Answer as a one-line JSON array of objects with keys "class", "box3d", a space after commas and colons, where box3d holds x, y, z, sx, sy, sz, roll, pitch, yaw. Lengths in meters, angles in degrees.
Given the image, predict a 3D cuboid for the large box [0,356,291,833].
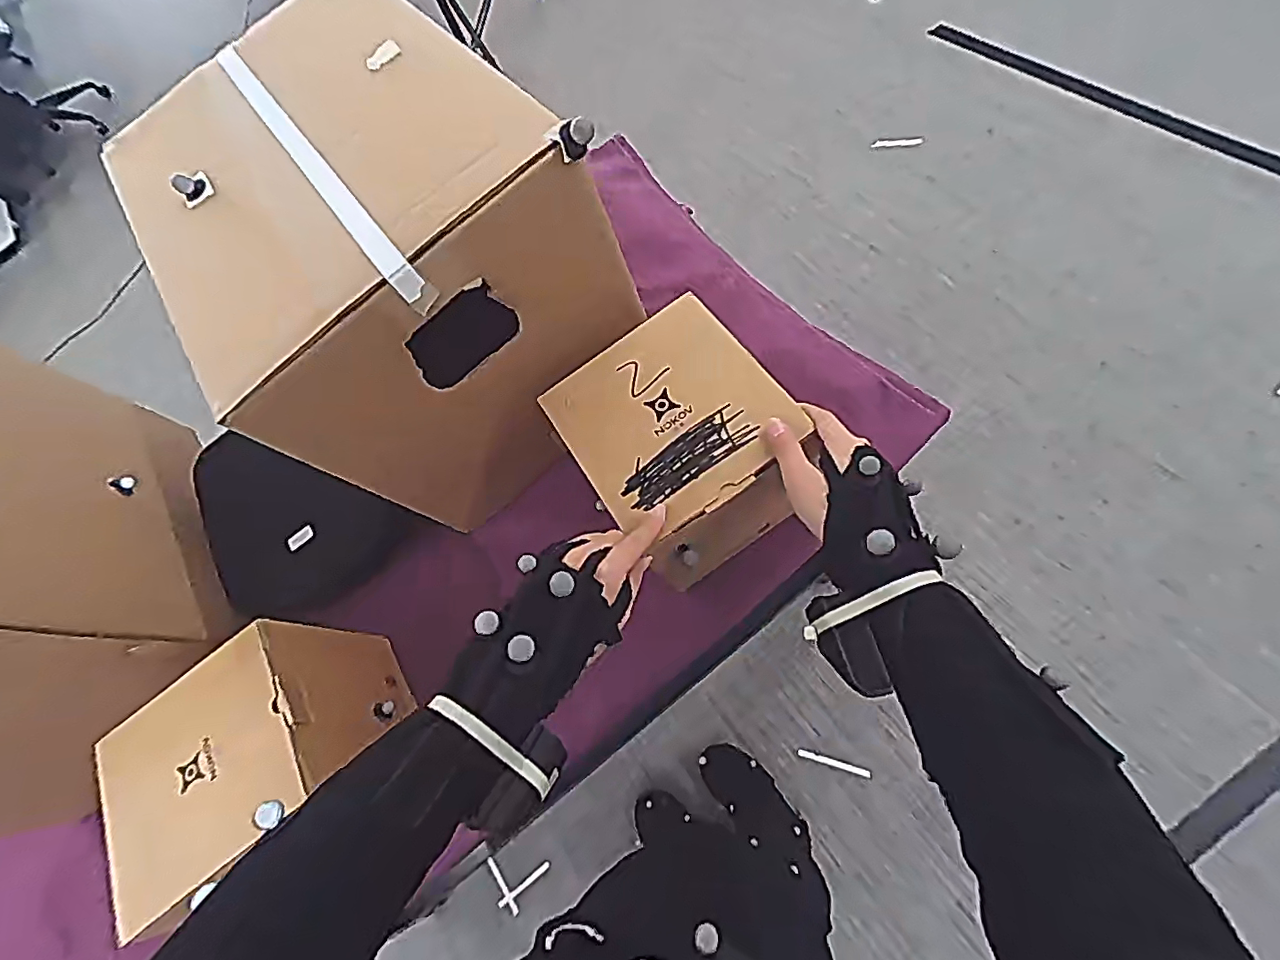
[{"class": "large box", "box3d": [-0.684, 0.112, 0.583, 0.320, 0.320, 0.408, -42, 67, -3]}]
